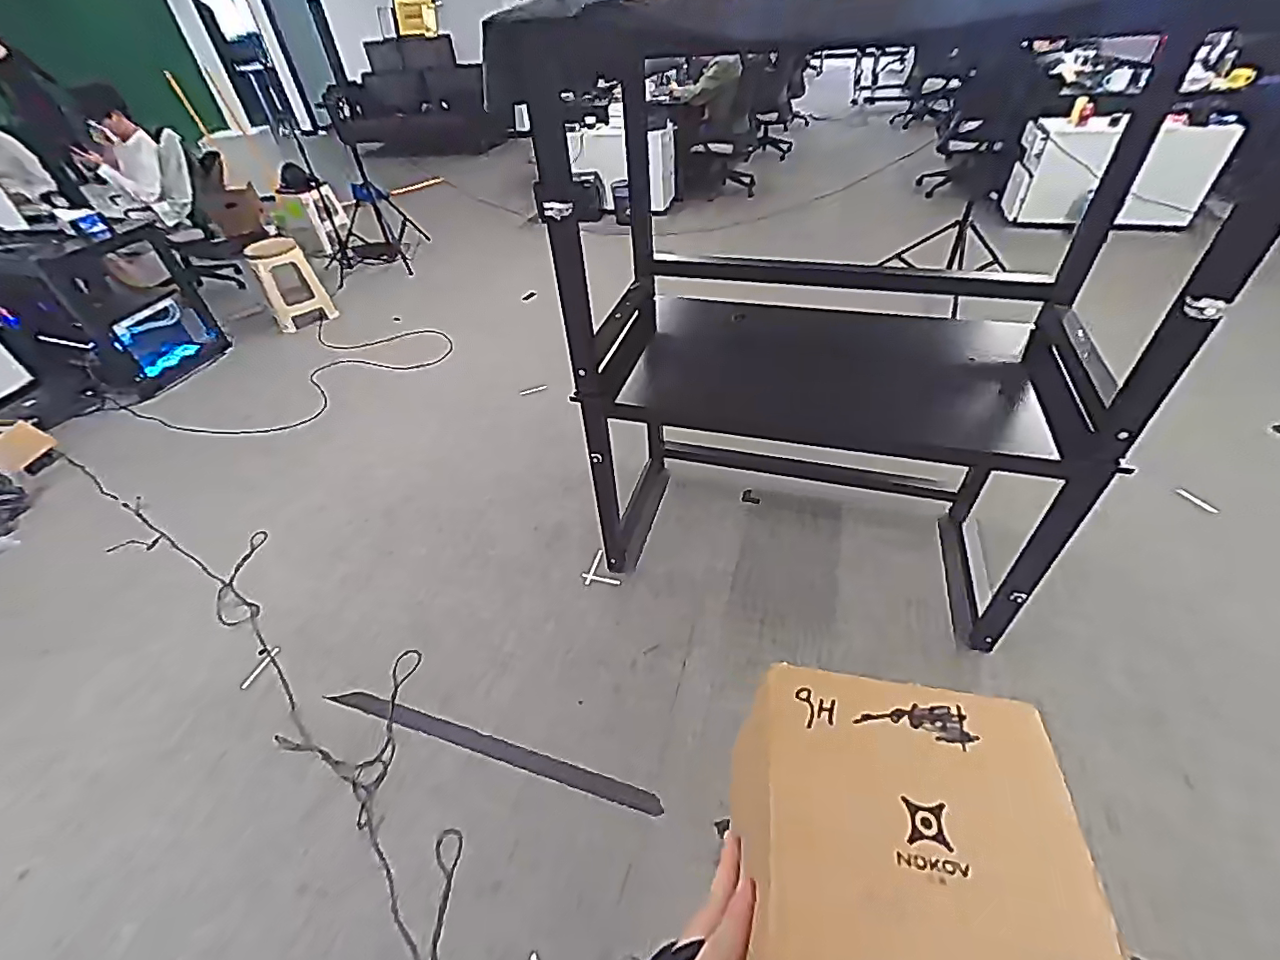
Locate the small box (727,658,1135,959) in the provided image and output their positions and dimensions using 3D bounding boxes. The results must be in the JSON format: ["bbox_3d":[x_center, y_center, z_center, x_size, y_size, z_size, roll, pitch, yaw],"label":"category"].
[{"bbox_3d":[0.149,0.241,0.335,0.168,0.176,0.179,8,47,5],"label":"small box"}]
